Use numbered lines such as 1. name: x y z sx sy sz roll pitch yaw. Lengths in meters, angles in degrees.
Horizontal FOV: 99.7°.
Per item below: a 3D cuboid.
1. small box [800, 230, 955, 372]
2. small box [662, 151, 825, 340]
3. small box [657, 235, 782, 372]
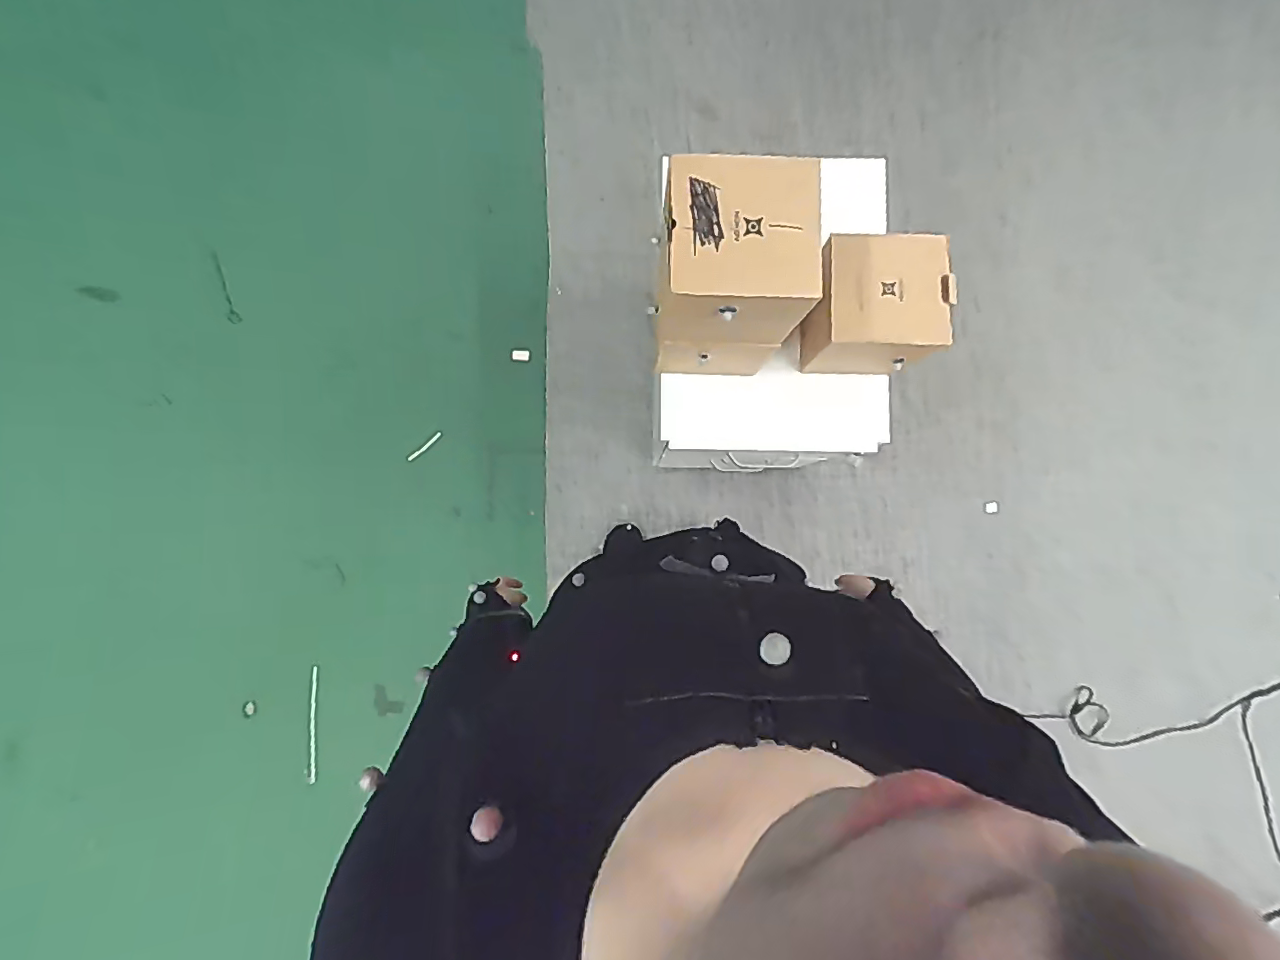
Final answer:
1. small box: 0.364 -0.272 0.854 0.179 0.176 0.168 1 86 2
2. small box: 0.119 -0.283 0.687 0.179 0.176 0.168 1 87 -2
3. small box: 0.118 -0.271 0.851 0.179 0.176 0.168 1 88 -1
